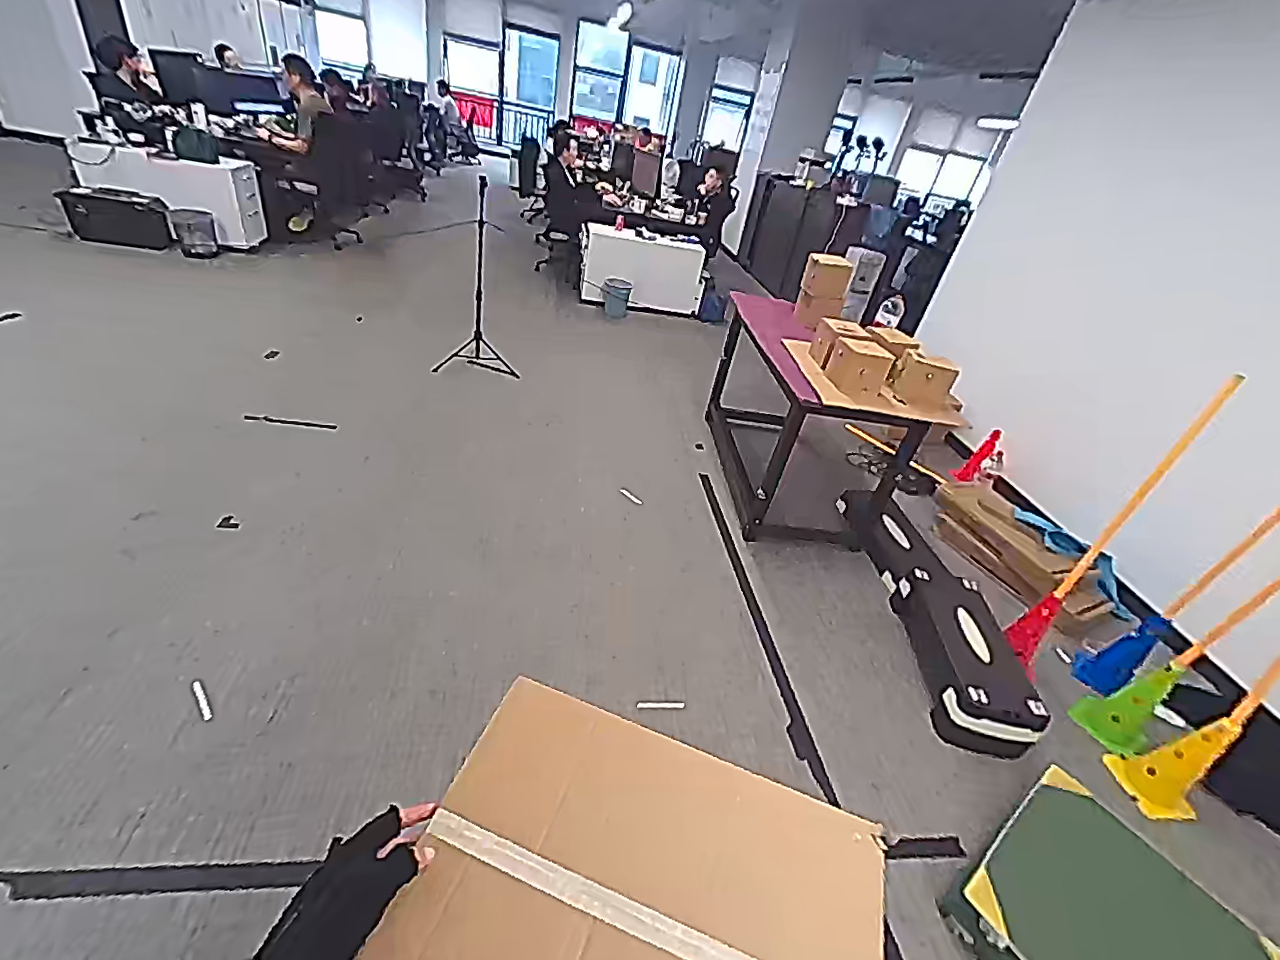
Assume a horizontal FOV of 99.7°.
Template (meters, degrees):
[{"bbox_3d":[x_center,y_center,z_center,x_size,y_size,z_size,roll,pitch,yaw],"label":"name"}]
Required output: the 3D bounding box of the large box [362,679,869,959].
[{"bbox_3d":[-0.020,0.487,0.575,0.408,0.320,0.320,19,42,10],"label":"large box"}]
